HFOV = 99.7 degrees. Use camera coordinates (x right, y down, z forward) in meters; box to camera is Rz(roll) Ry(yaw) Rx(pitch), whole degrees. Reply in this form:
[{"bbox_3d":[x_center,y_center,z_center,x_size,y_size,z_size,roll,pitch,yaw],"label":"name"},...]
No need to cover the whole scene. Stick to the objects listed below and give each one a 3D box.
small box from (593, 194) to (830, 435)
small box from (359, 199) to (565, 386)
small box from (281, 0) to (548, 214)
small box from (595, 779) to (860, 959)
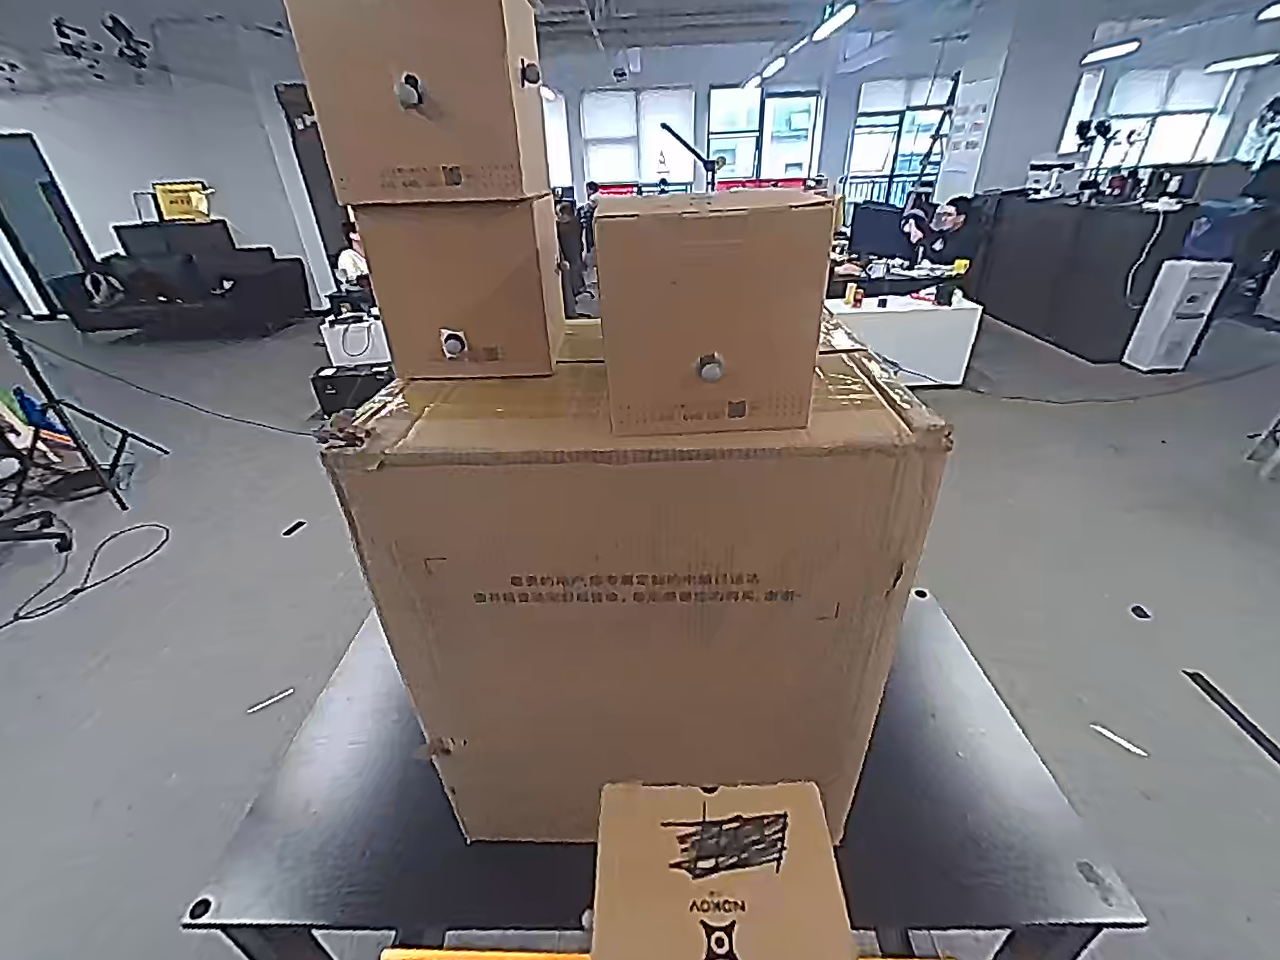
[{"bbox_3d":[0.053,-0.152,0.481,0.168,0.176,0.179,-3,31,1],"label":"small box"},{"bbox_3d":[-0.177,-0.213,0.603,0.168,0.176,0.179,-4,31,-1],"label":"small box"},{"bbox_3d":[-0.185,-0.347,0.508,0.168,0.176,0.179,-2,30,0],"label":"small box"},{"bbox_3d":[0.057,0.347,0.395,0.168,0.176,0.179,-2,38,3],"label":"small box"}]
